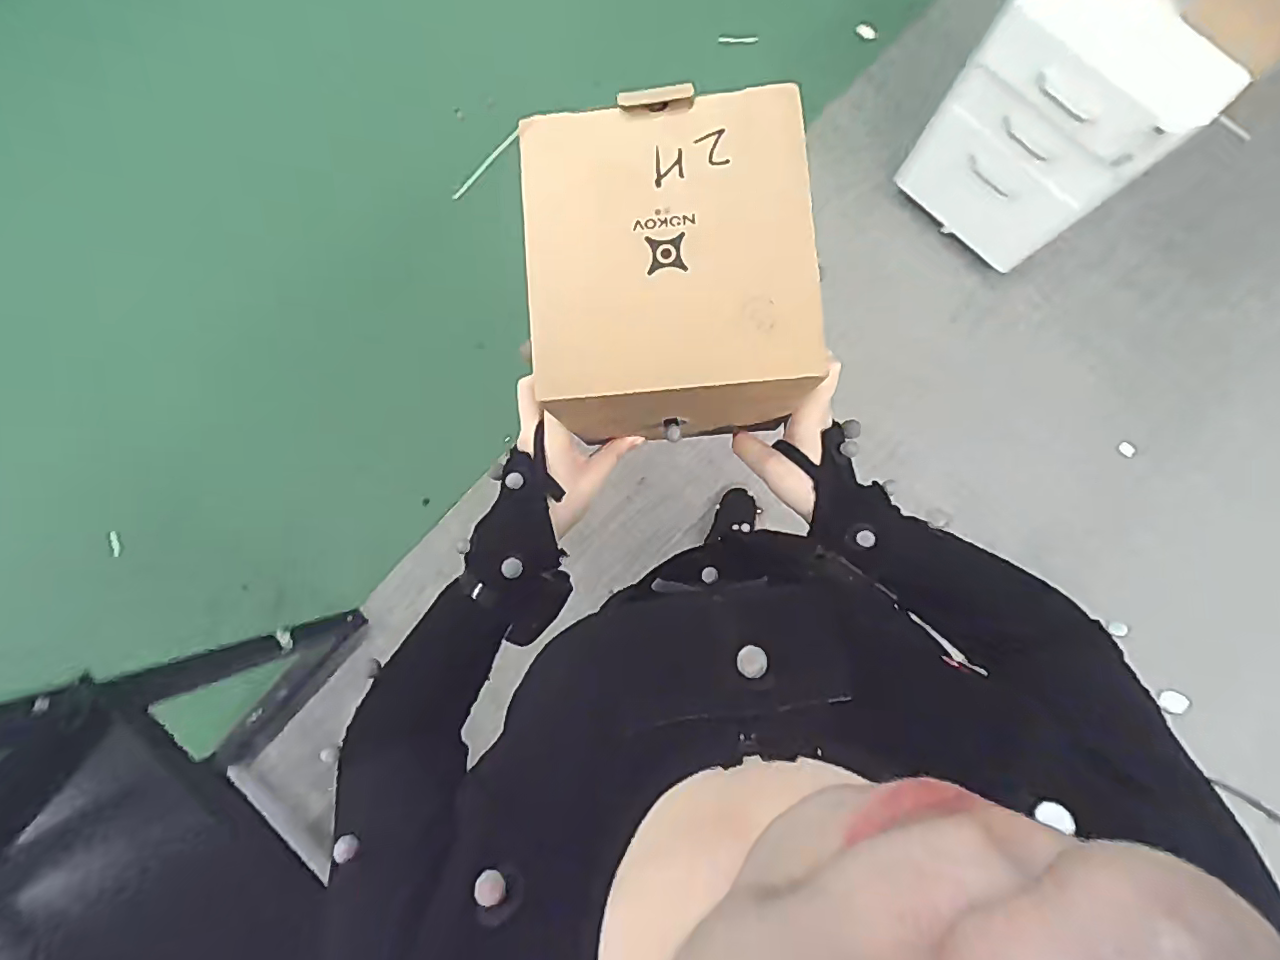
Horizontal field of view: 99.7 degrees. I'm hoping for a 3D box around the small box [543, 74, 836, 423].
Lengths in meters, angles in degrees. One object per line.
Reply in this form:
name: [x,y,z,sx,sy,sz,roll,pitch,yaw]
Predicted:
small box: [0.032,-0.140,0.393,0.168,0.176,0.179,-3,85,3]
